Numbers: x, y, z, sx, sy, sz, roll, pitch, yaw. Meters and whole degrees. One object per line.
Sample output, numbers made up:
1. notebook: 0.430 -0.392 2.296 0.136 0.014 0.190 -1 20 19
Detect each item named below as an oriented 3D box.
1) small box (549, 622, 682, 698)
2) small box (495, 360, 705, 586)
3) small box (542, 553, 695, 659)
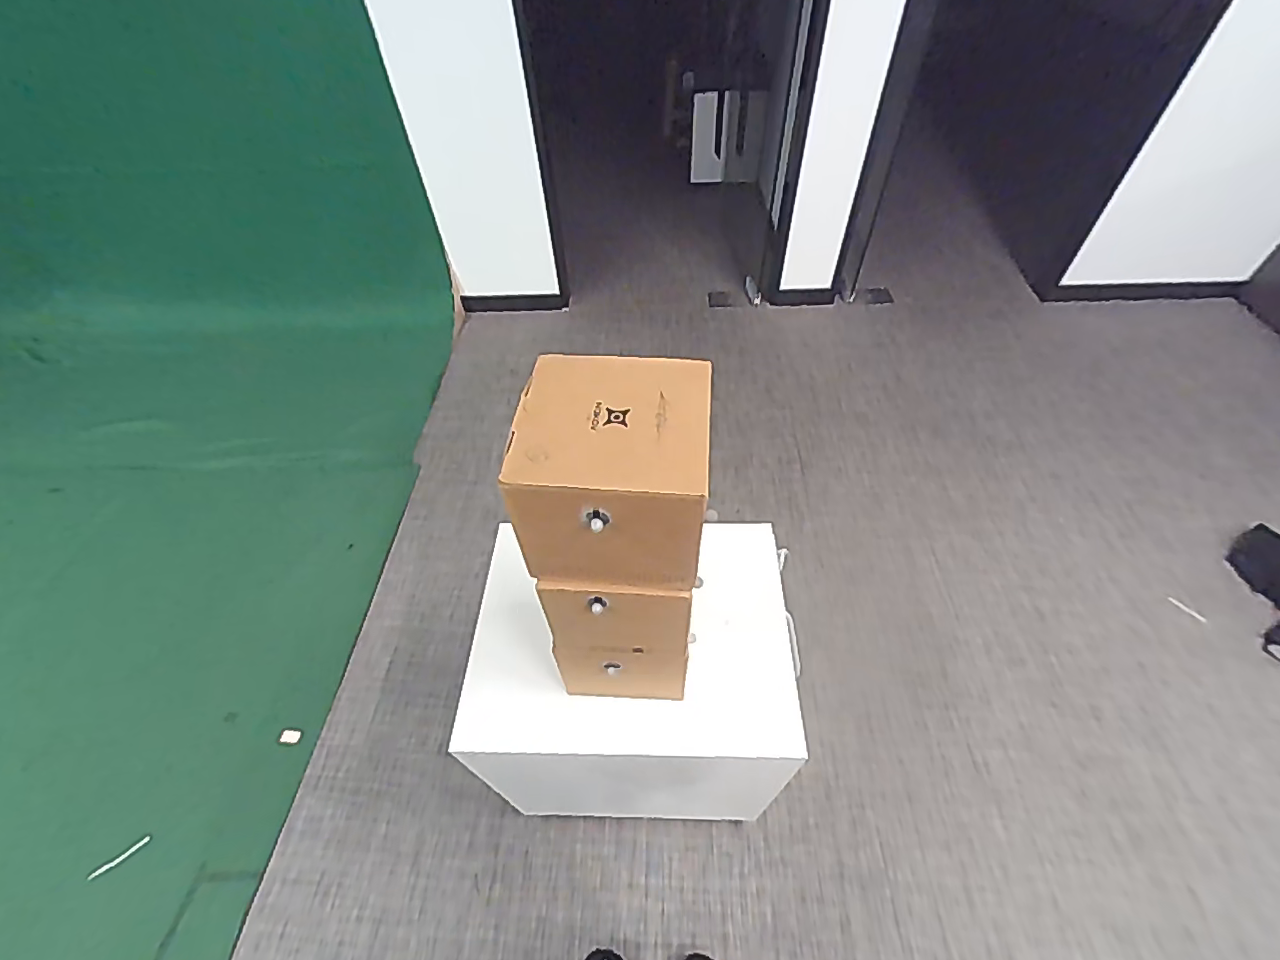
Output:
1. small box: -0.024 0.212 0.803 0.179 0.176 0.168 2 50 3
2. small box: -0.027 -0.003 0.558 0.179 0.176 0.168 4 52 4
3. small box: -0.021 0.106 0.682 0.168 0.176 0.179 1 51 1
